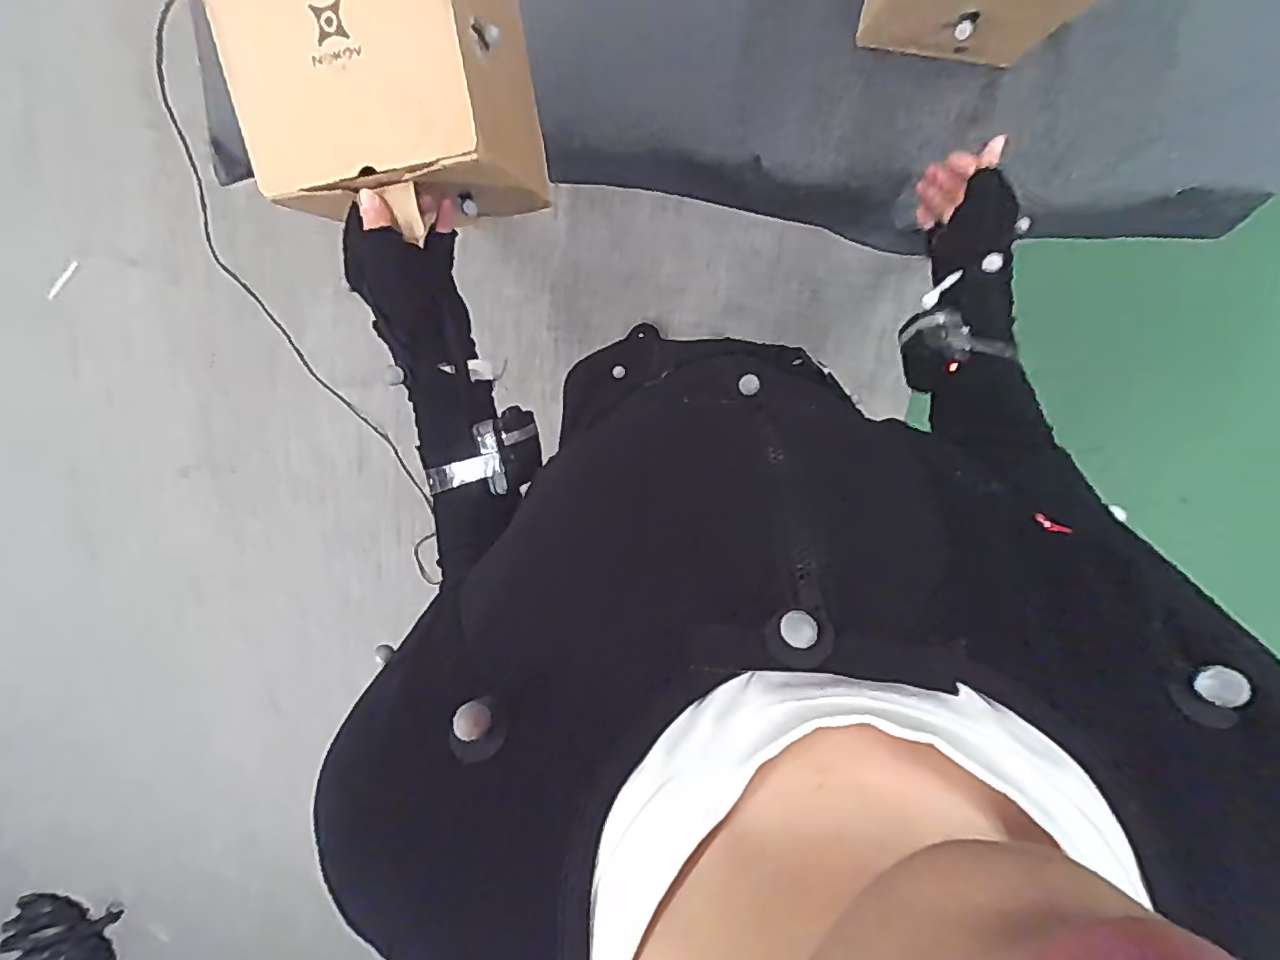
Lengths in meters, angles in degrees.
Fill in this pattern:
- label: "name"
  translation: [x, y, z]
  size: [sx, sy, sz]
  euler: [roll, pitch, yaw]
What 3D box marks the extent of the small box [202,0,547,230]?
- label: "small box"
  translation: [-0.182, -0.303, 0.415]
  size: [0.168, 0.176, 0.179]
  euler: [-6, 104, 9]
